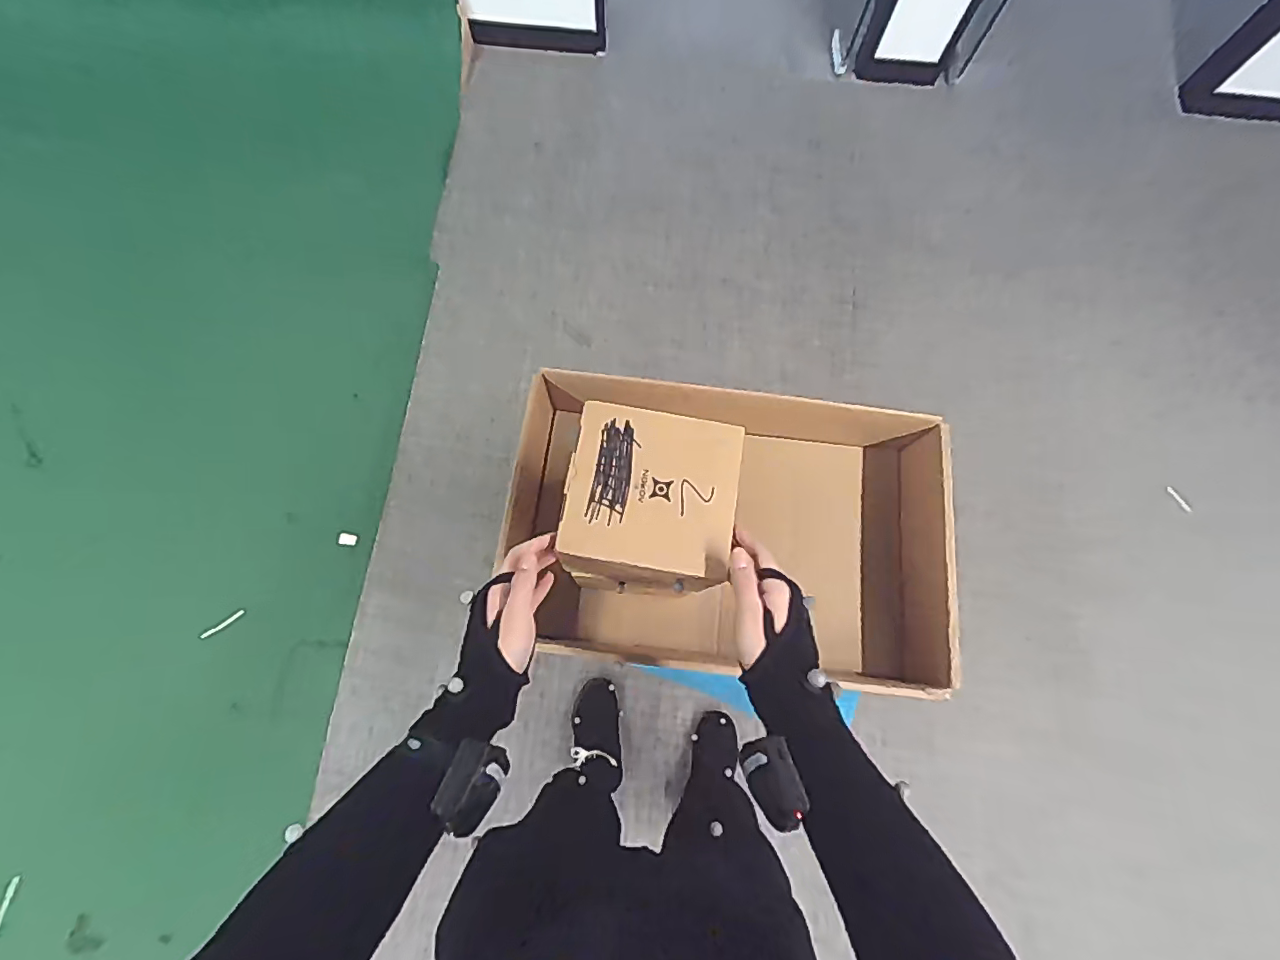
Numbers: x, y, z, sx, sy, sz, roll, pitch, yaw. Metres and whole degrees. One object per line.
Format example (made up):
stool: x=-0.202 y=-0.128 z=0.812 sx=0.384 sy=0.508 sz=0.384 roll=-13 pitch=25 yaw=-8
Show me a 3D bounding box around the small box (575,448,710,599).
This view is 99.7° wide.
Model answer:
small box: x=0.003 y=0.071 z=0.788 sx=0.168 sy=0.176 sz=0.179 roll=6 pitch=73 yaw=0
